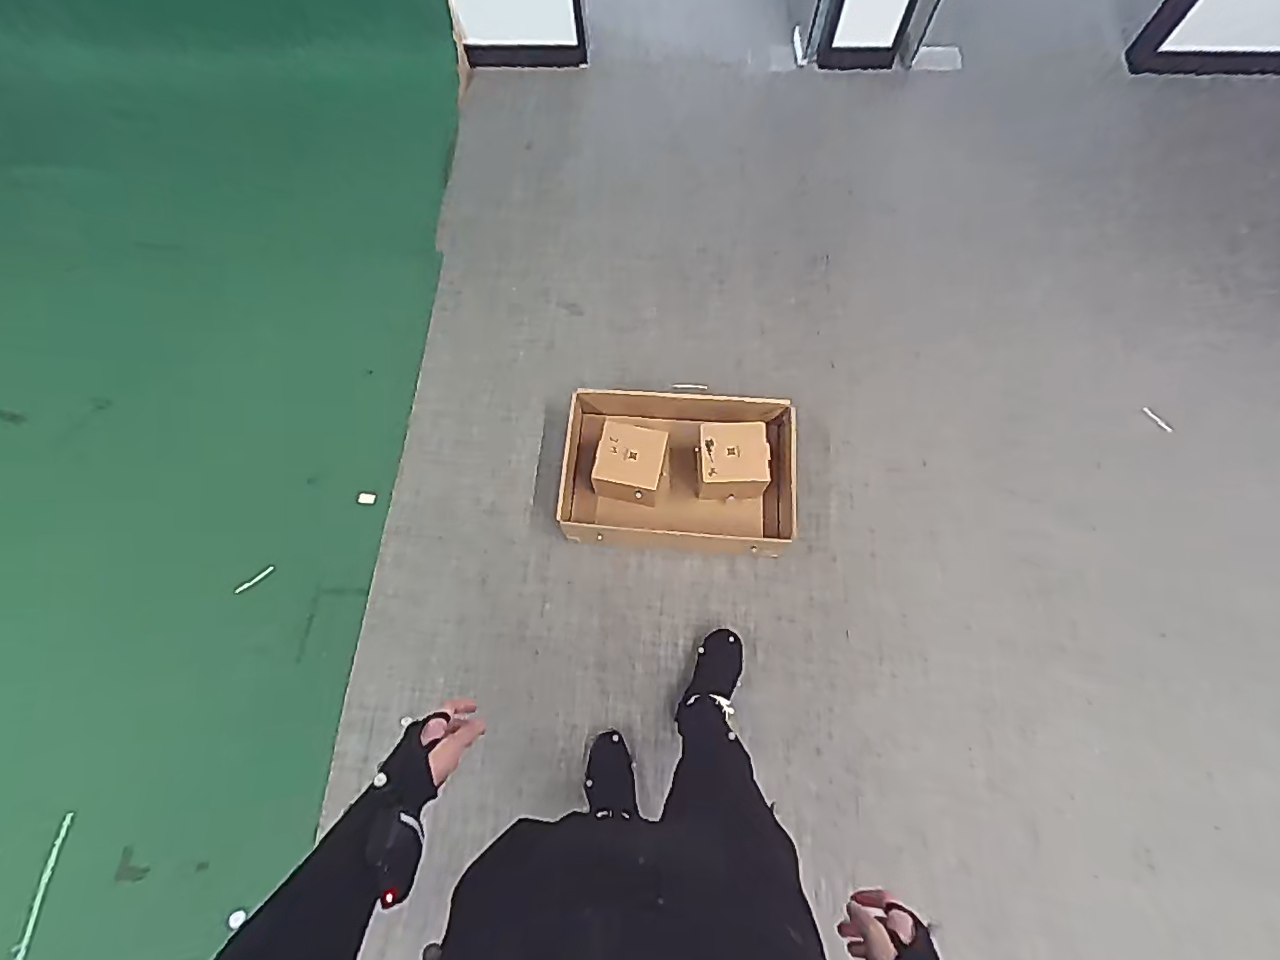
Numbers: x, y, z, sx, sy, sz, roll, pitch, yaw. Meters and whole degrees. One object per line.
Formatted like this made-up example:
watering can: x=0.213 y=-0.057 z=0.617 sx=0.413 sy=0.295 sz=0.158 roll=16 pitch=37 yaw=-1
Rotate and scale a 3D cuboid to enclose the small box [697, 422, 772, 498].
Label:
small box: x=0.251 y=-0.050 z=1.471 sx=0.179 sy=0.176 sz=0.168 roll=-1 pitch=72 yaw=2
